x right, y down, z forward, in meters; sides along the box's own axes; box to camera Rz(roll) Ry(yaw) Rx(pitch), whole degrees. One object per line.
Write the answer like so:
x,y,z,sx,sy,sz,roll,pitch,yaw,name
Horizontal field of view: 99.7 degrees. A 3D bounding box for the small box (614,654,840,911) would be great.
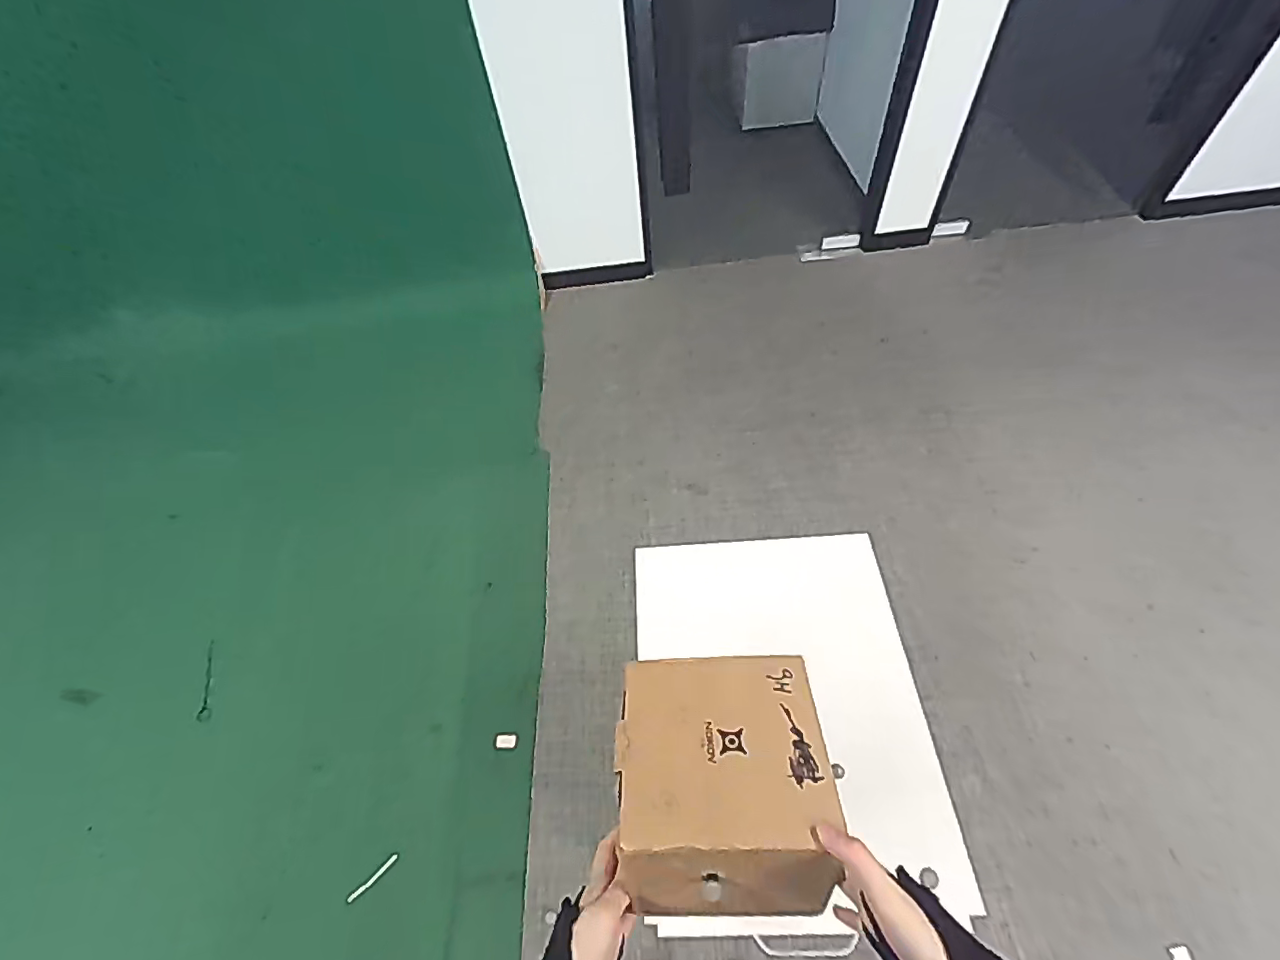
0.075,0.289,0.522,0.179,0.176,0.168,-2,36,4,small box
